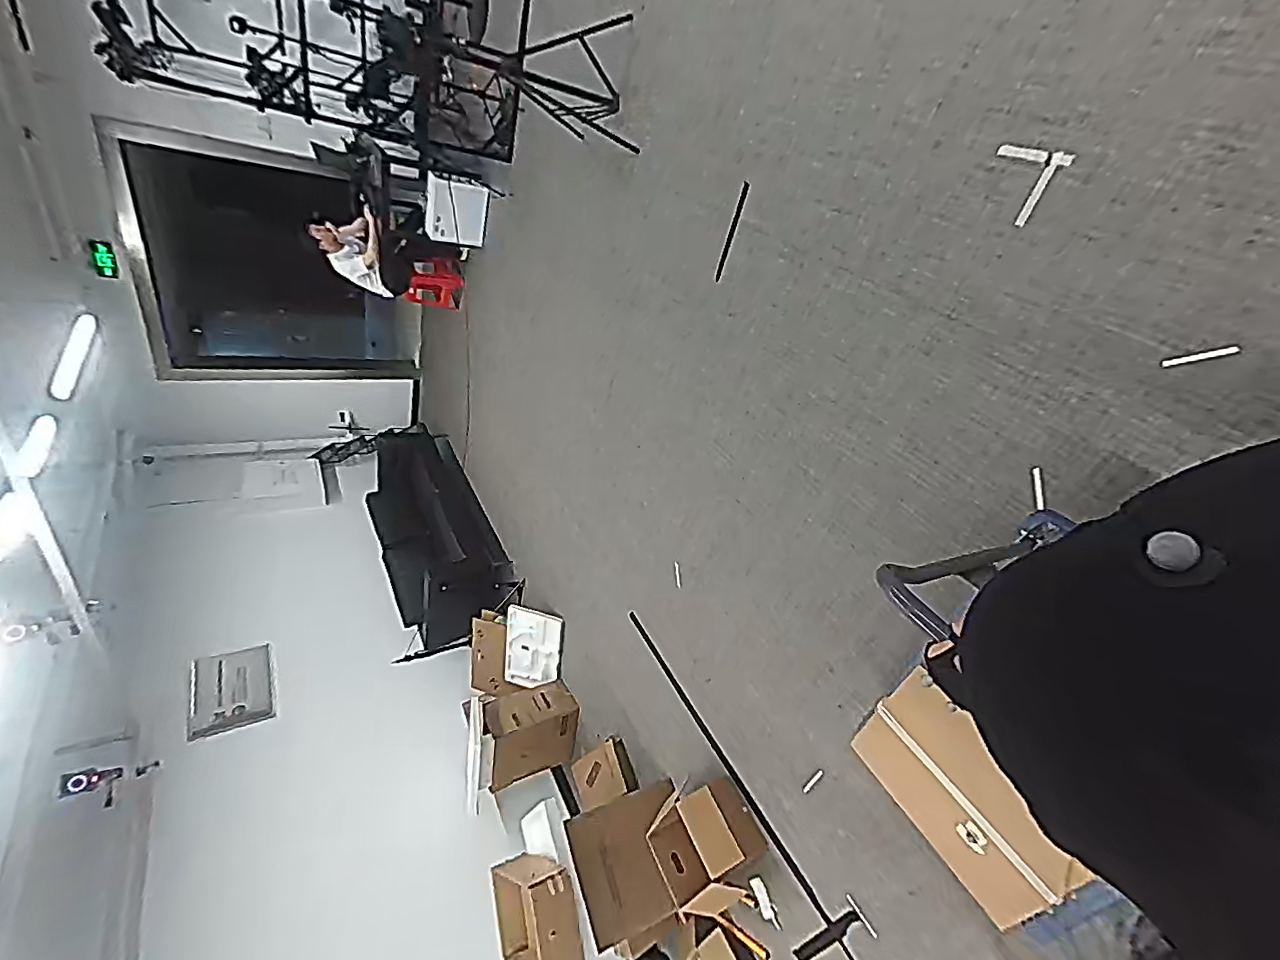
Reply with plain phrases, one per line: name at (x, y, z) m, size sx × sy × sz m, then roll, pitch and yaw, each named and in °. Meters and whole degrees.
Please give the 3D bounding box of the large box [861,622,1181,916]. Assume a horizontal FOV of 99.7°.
large box at (0.779, 0.579, 1.155) m, size 0.408 × 0.320 × 0.320 m, roll 50°, pitch 135°, yaw 40°
